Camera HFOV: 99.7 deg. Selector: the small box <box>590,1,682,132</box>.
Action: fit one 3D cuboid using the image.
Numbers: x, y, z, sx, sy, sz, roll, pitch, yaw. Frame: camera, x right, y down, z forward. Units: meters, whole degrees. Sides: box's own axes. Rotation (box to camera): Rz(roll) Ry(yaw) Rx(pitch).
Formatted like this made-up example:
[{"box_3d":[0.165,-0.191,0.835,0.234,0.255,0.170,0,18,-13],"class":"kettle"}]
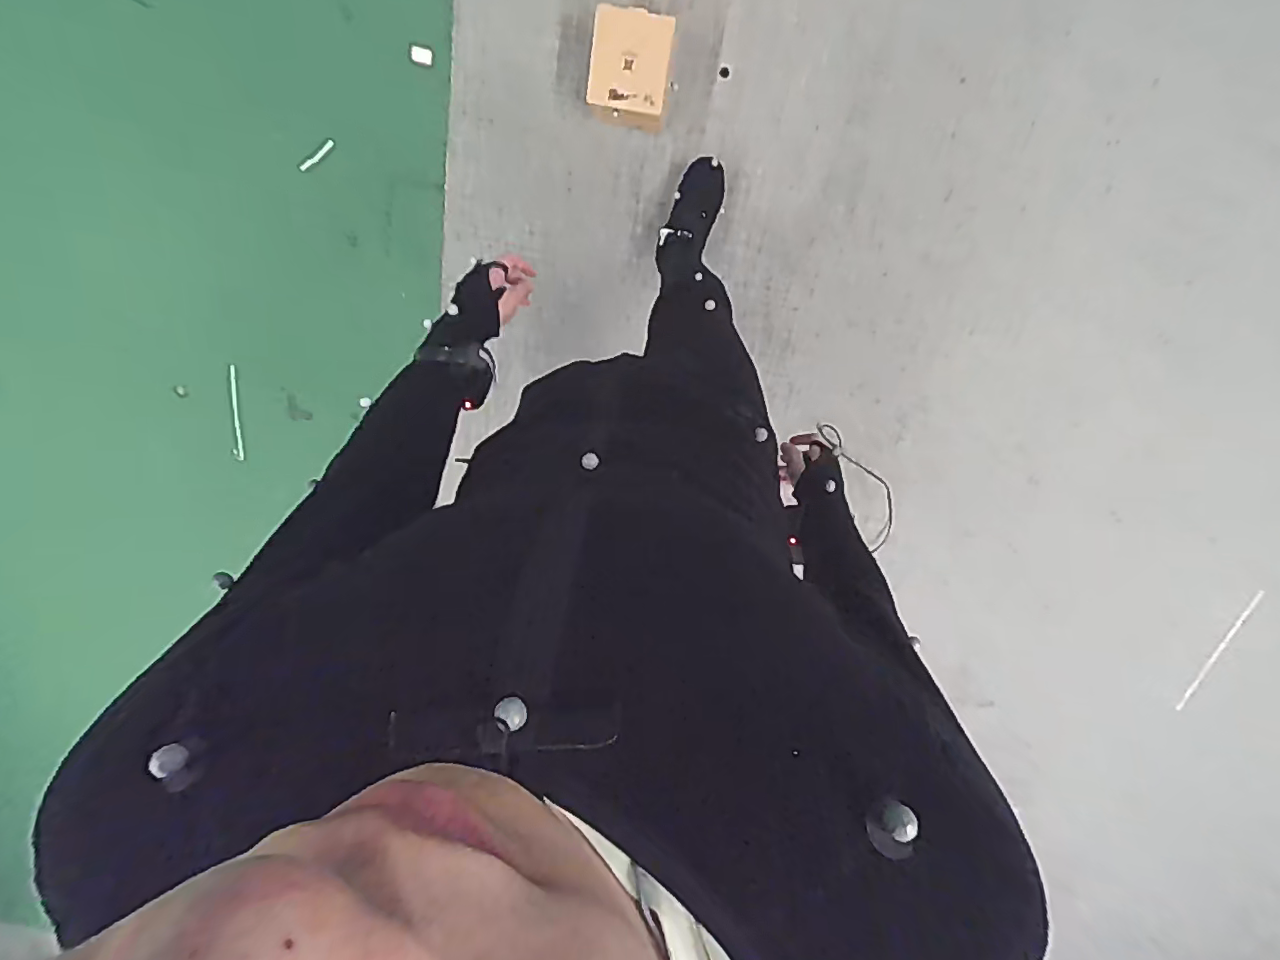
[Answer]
[{"box_3d":[-0.005,-0.904,1.197,0.168,0.176,0.179,12,112,2],"class":"small box"}]
